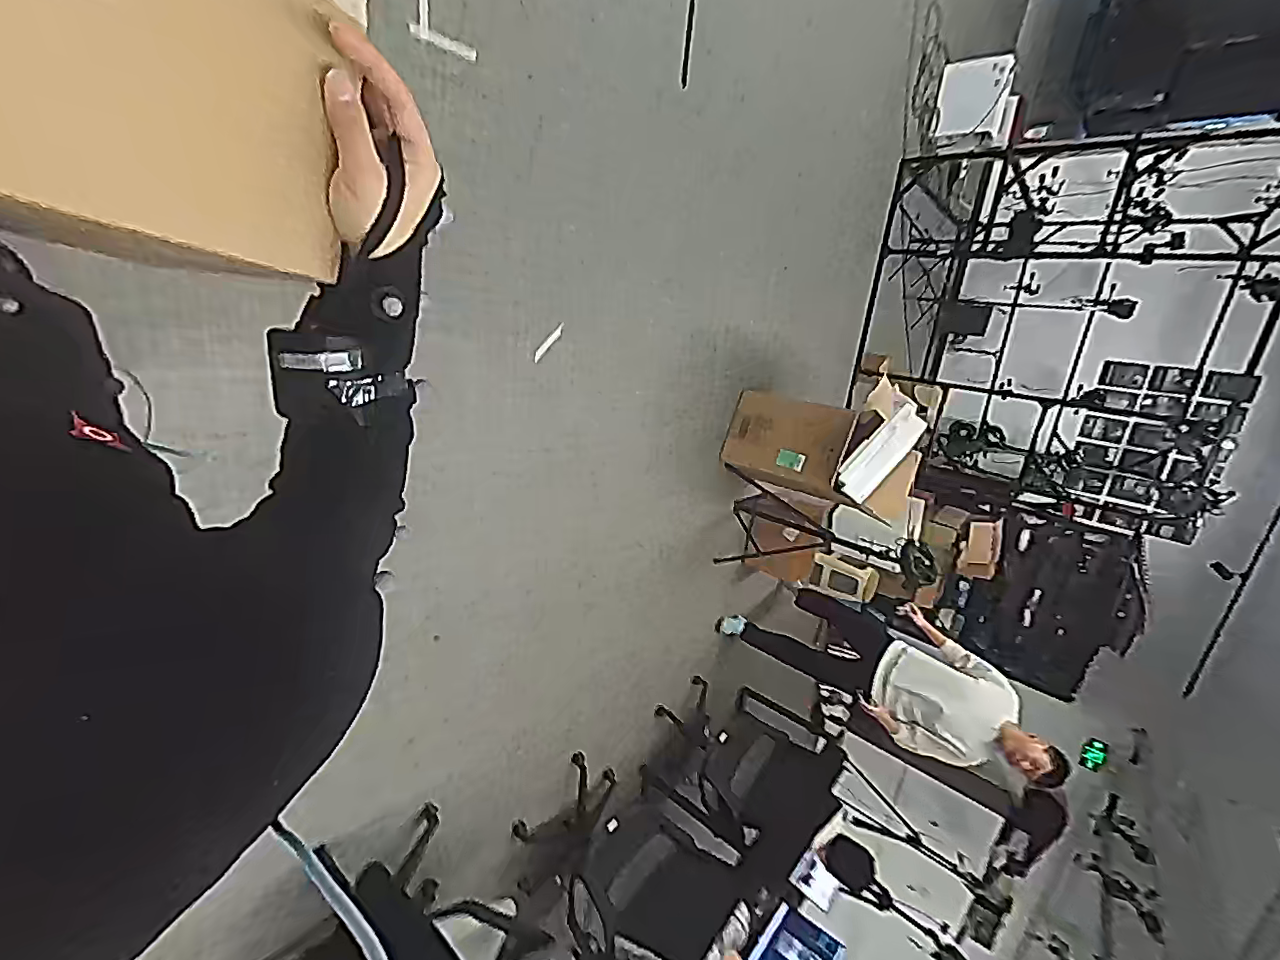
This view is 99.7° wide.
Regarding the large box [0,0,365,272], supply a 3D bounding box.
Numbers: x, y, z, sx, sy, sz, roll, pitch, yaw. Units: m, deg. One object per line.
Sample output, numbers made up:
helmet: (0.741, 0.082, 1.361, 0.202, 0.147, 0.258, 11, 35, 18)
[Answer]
large box: (-0.400, -0.308, 0.242, 0.408, 0.320, 0.320, -2, 107, -57)
